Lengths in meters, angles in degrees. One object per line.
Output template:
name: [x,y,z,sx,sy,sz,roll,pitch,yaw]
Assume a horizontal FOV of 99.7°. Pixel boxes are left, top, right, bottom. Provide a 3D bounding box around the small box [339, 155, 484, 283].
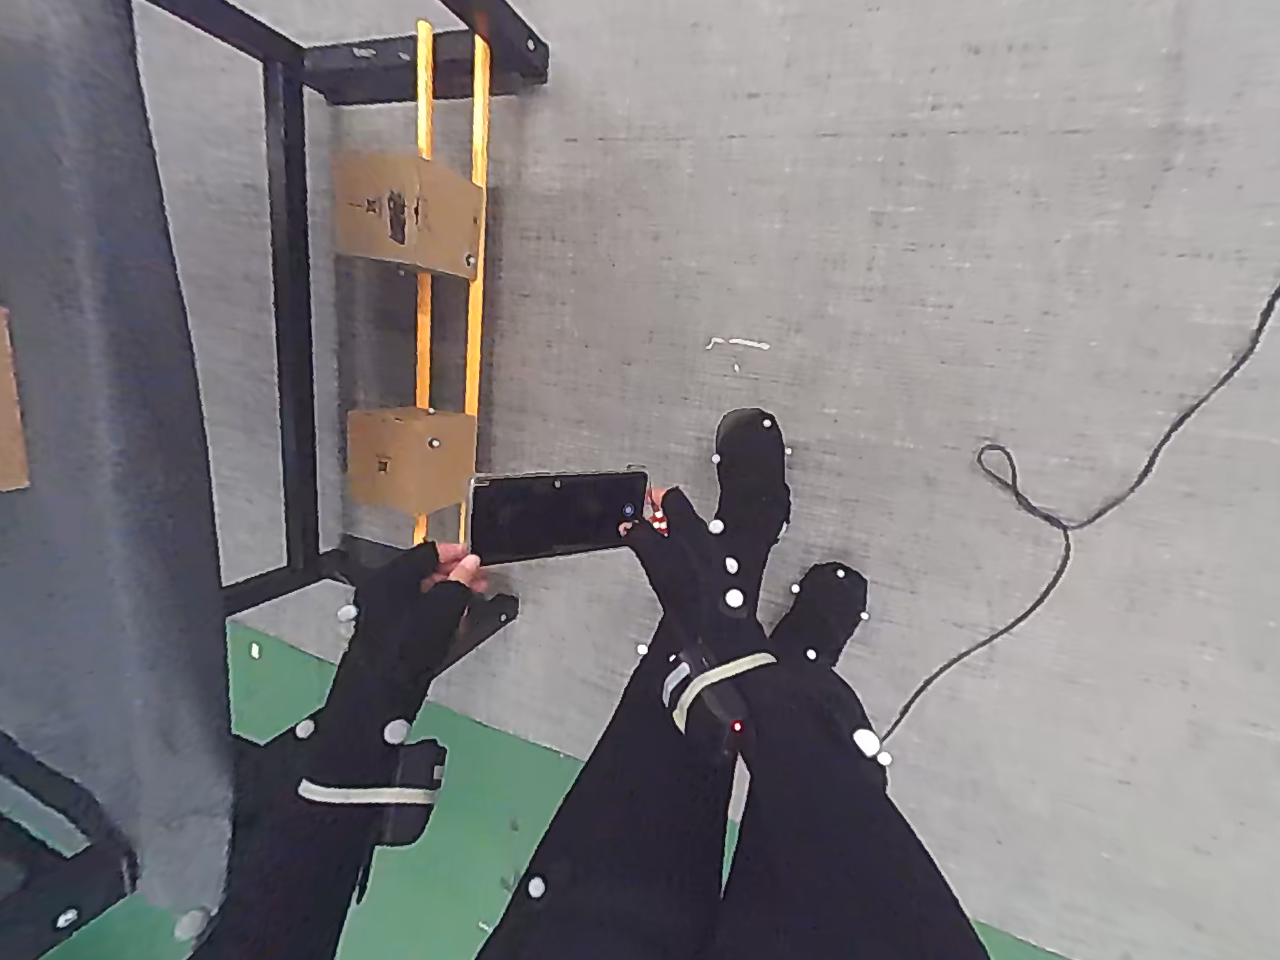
small box: [-0.403,-0.458,0.968,0.179,0.176,0.168,14,104,17]
